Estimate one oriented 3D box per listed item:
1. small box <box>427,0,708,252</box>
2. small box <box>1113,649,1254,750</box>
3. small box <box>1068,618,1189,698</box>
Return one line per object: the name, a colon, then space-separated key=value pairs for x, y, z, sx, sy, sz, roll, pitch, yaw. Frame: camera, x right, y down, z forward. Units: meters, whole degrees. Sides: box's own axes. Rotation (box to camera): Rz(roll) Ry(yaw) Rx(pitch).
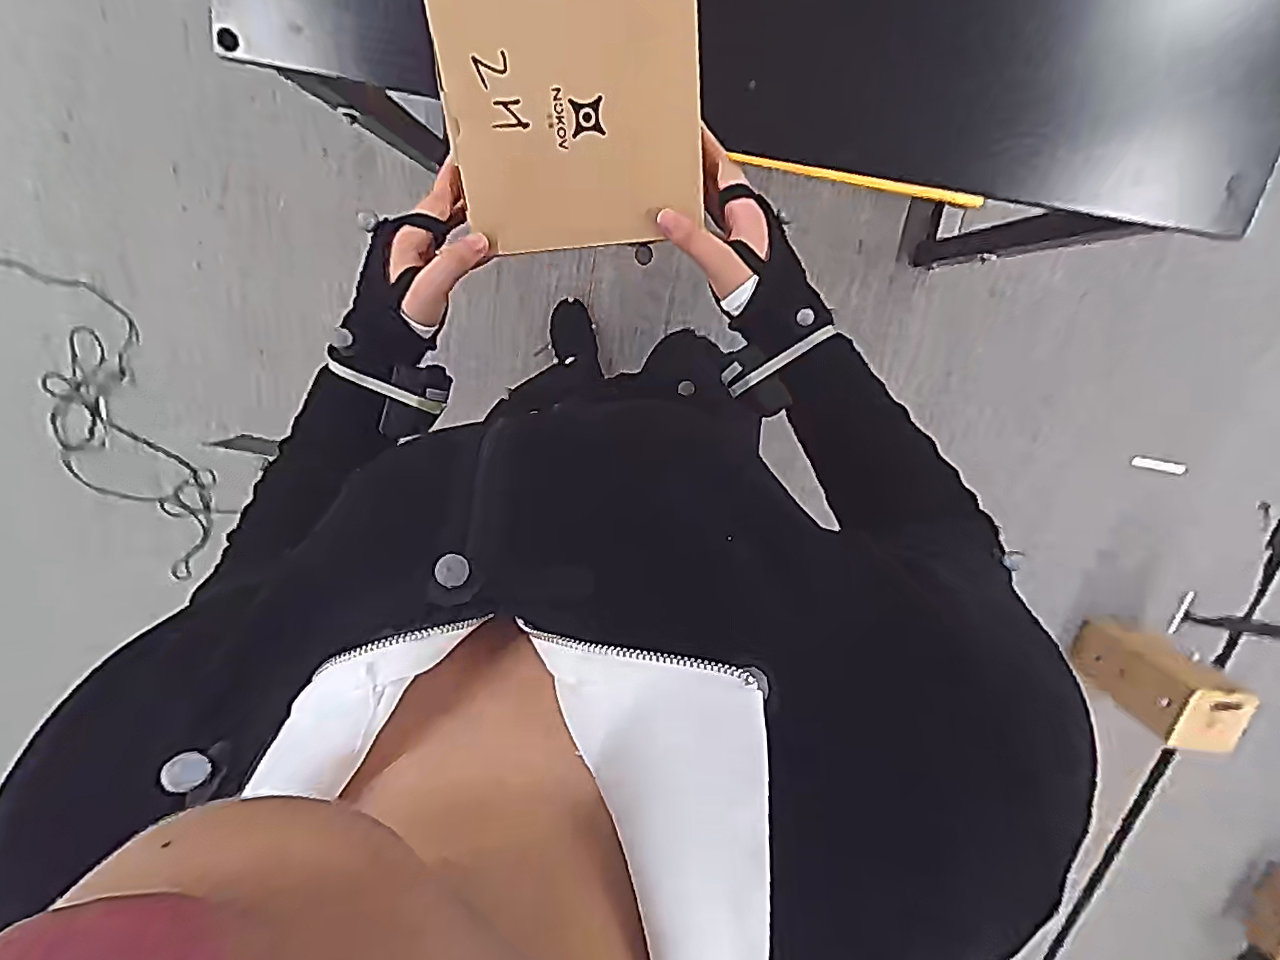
small box: x=-0.046 y=-0.280 z=0.434 sx=0.179 sy=0.176 sz=0.168 roll=-4 pitch=114 yaw=-1
small box: x=1.397 y=0.564 z=1.407 sx=0.168 sy=0.176 sz=0.179 roll=7 pitch=108 yaw=-2
small box: x=1.402 y=0.520 z=1.567 sx=0.179 sy=0.176 sz=0.168 roll=7 pitch=108 yaw=-1
